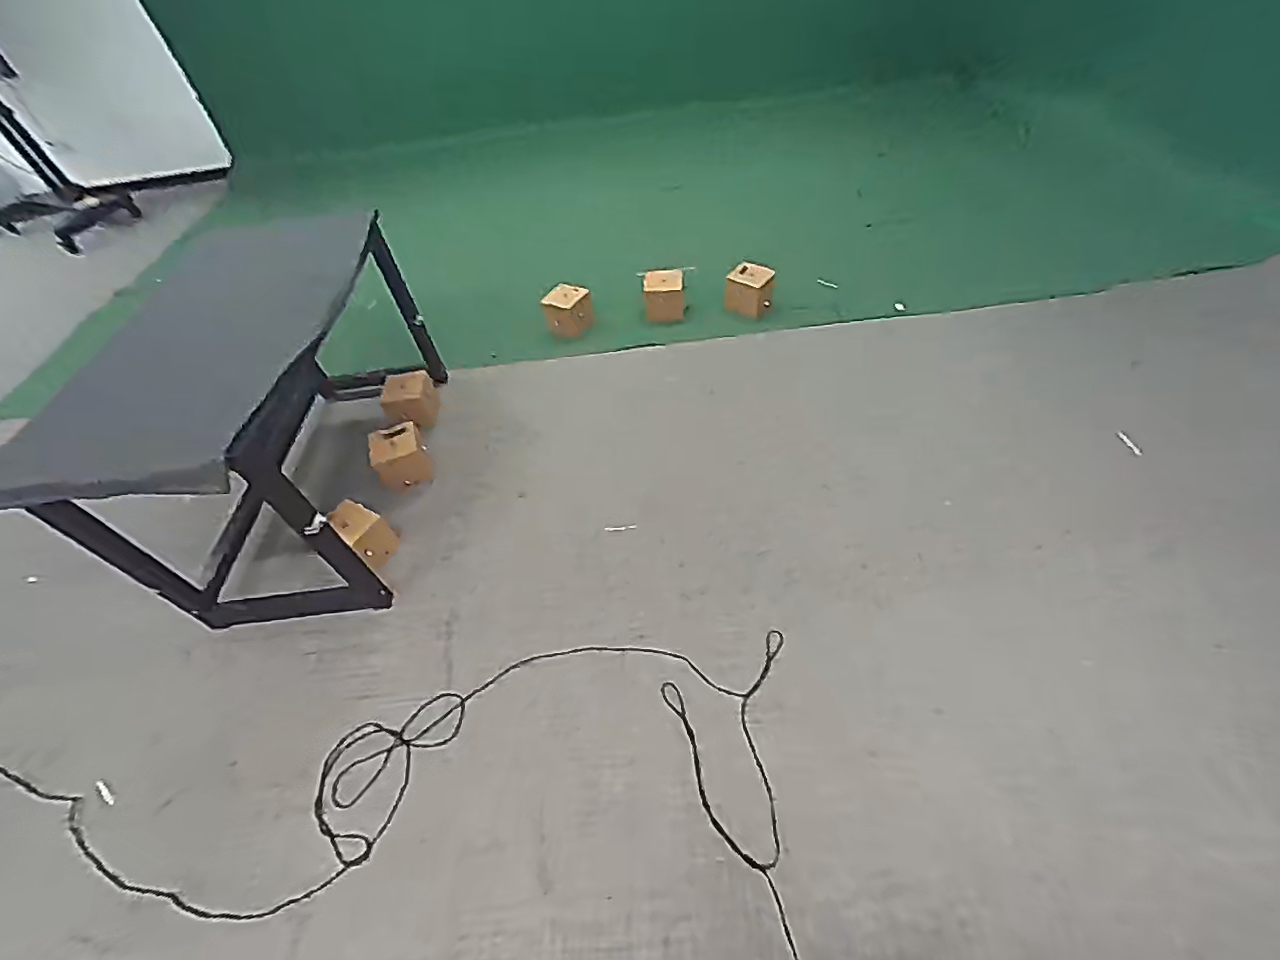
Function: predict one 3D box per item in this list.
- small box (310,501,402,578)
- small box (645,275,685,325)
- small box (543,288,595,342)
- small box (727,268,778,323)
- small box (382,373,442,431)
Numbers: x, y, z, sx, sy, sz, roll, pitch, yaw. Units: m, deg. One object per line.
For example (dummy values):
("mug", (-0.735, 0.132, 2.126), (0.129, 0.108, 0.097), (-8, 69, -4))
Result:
("small box", (-0.934, 0.203, 1.797), (0.179, 0.176, 0.168), (20, 55, 23))
("small box", (0.124, -0.856, 2.580), (0.179, 0.176, 0.168), (1, 51, 6))
("small box", (-0.330, -0.786, 2.576), (0.168, 0.176, 0.179), (21, 55, 24))
("small box", (0.522, -0.865, 2.538), (0.179, 0.176, 0.168), (28, 58, 26))
("small box", (-0.939, -0.318, 2.243), (0.168, 0.176, 0.179), (-7, 49, 0))
